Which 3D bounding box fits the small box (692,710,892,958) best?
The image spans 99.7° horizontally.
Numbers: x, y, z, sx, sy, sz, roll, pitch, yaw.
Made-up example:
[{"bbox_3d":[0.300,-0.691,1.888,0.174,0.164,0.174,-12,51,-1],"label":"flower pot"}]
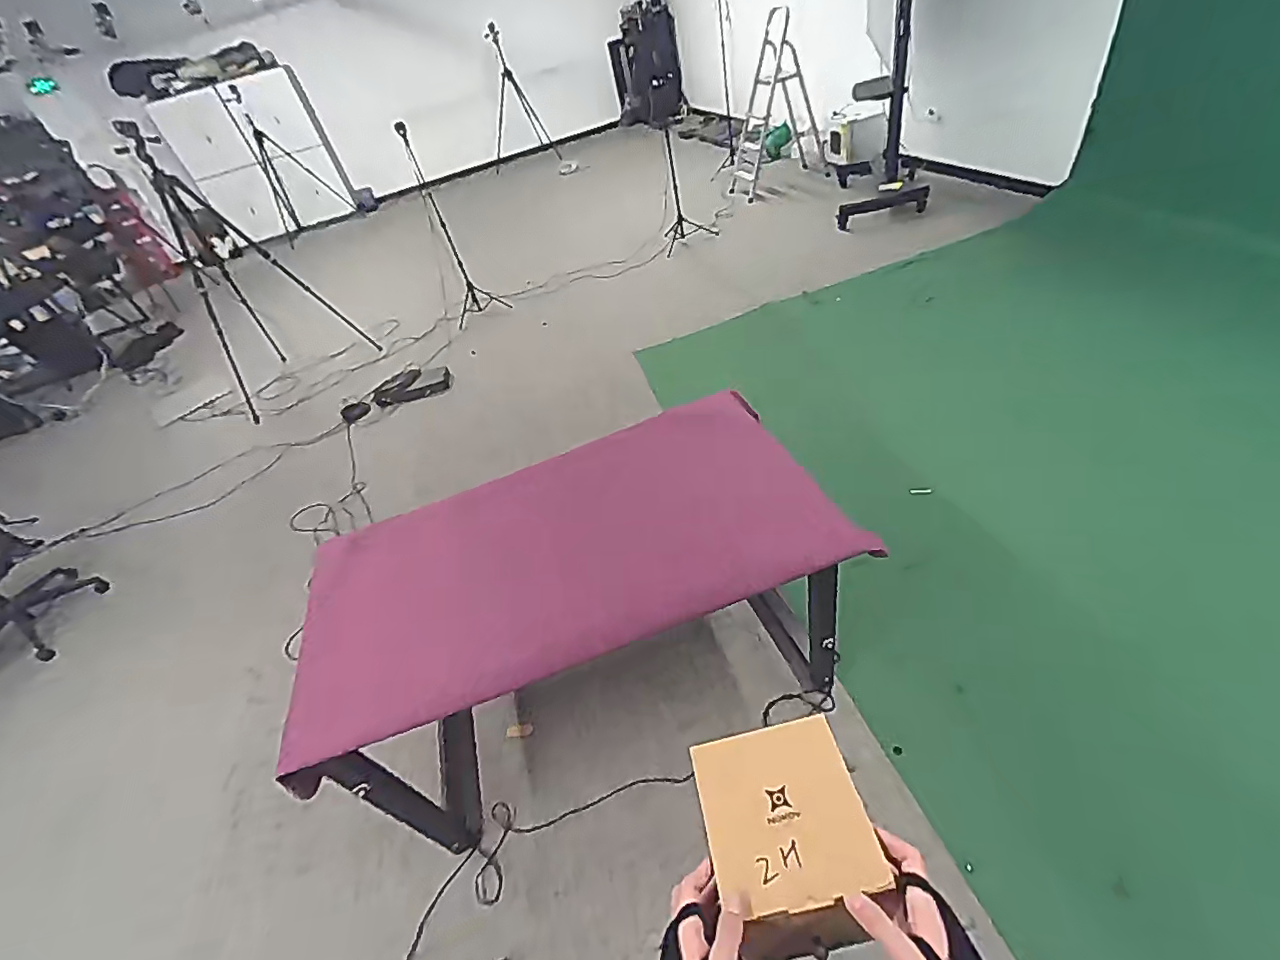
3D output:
[{"bbox_3d":[0.167,0.404,0.621,0.168,0.176,0.179,-16,37,3],"label":"small box"}]
